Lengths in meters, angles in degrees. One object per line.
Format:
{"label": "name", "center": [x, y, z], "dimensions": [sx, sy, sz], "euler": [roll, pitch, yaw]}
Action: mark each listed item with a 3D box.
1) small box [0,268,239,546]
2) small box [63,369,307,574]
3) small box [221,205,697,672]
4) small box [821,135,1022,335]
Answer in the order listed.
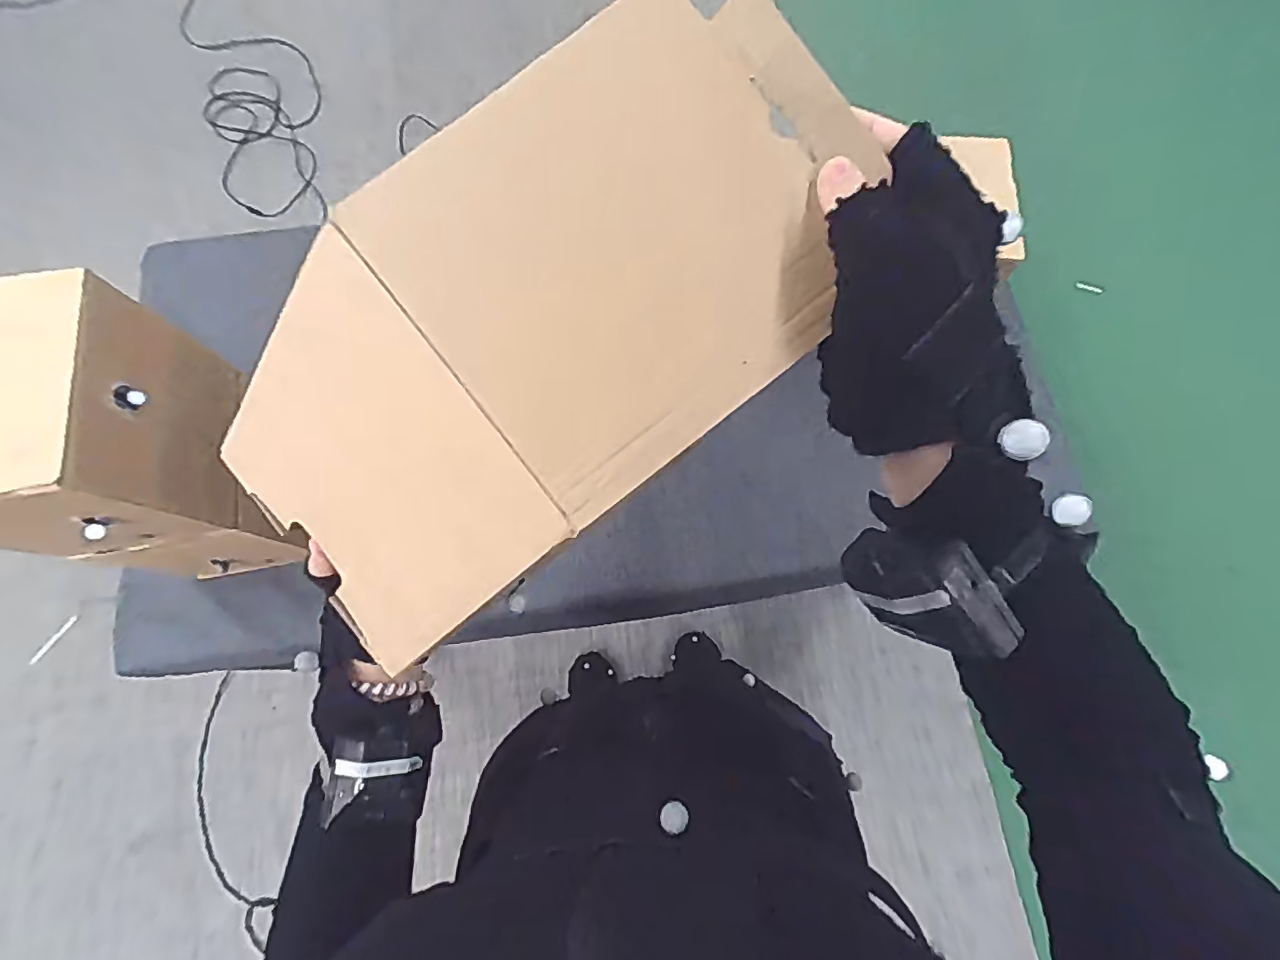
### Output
{"label": "small box", "center": [-0.477, -0.045, 0.456], "dimensions": [0.168, 0.176, 0.179], "euler": [-8, 74, -3]}
{"label": "small box", "center": [-0.477, 0.000, 0.613], "dimensions": [0.168, 0.176, 0.179], "euler": [-10, 75, -3]}
{"label": "small box", "center": [-0.095, -0.025, 0.325], "dimensions": [0.179, 0.176, 0.168], "euler": [-39, 89, 31]}
{"label": "small box", "center": [0.338, -0.300, 0.689], "dimensions": [0.179, 0.176, 0.168], "euler": [4, 75, 1]}
